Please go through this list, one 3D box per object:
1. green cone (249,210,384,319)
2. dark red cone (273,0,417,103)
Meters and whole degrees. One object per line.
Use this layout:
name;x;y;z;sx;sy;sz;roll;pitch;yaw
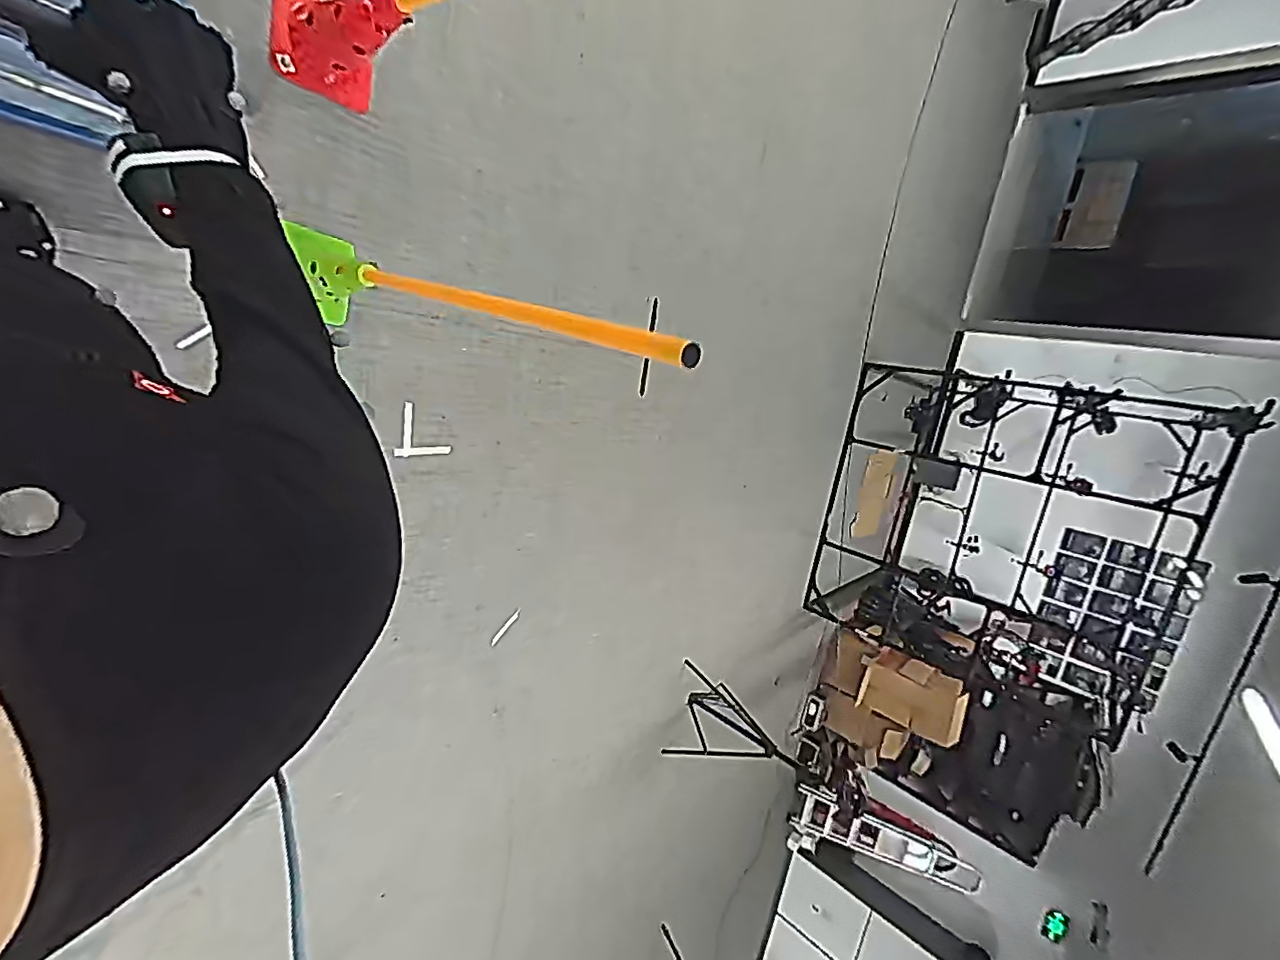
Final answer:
green cone;-0.654;-0.448;1.151;0.202;0.368;0.200;1;104;-51
dark red cone;-0.544;-0.911;1.055;0.201;0.394;0.202;-5;110;-51
